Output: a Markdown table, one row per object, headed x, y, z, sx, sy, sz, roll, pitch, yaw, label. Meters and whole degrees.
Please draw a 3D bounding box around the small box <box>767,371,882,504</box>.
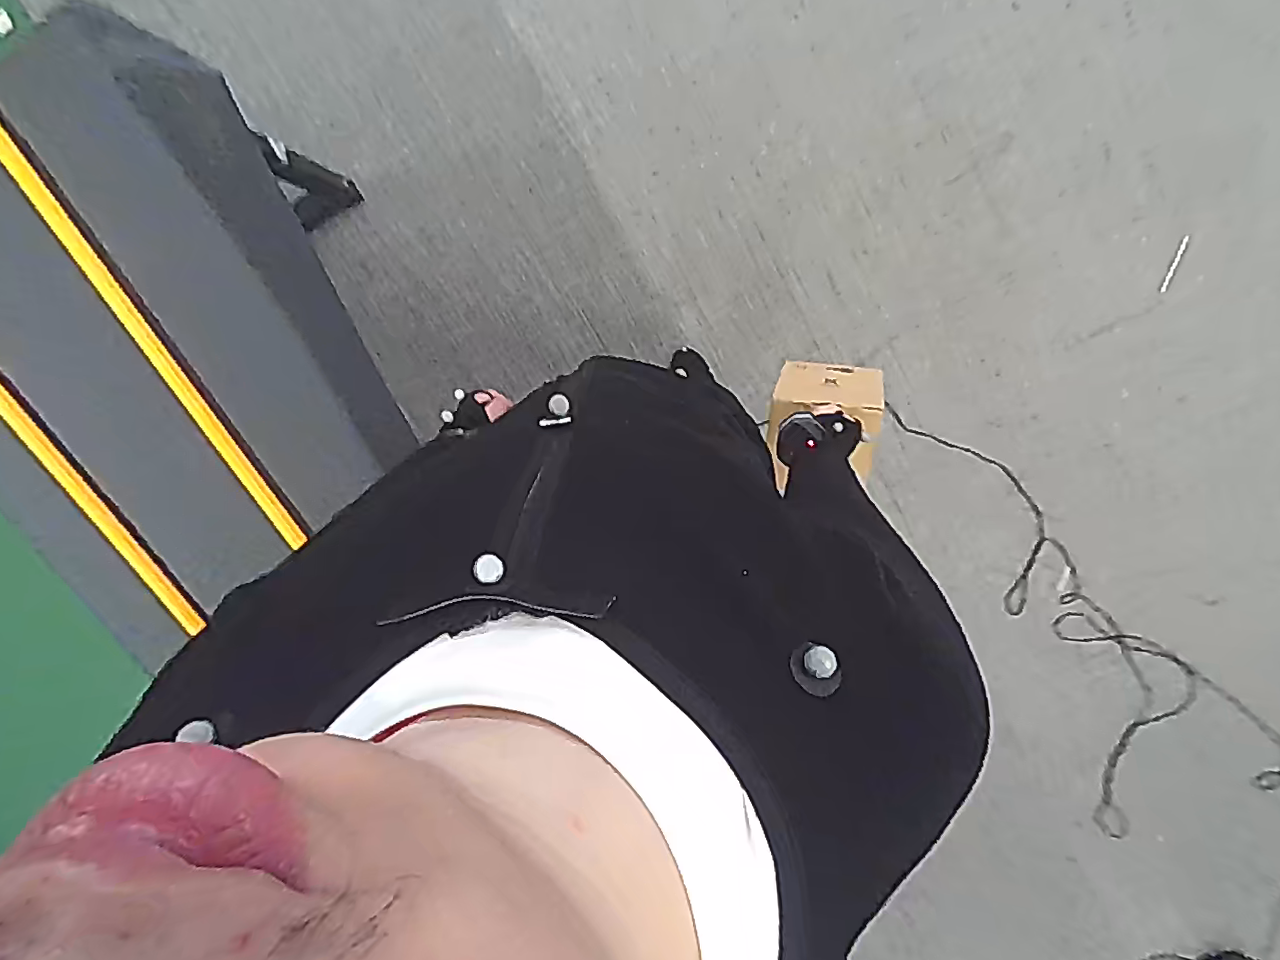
| x | y | z | sx | sy | sz | roll | pitch | yaw | label |
| --- | --- | --- | --- | --- | --- | --- | --- | --- | --- |
| 0.316 | -0.076 | 0.937 | 0.168 | 0.179 | 0.176 | 7 | 123 | 16 | small box |
